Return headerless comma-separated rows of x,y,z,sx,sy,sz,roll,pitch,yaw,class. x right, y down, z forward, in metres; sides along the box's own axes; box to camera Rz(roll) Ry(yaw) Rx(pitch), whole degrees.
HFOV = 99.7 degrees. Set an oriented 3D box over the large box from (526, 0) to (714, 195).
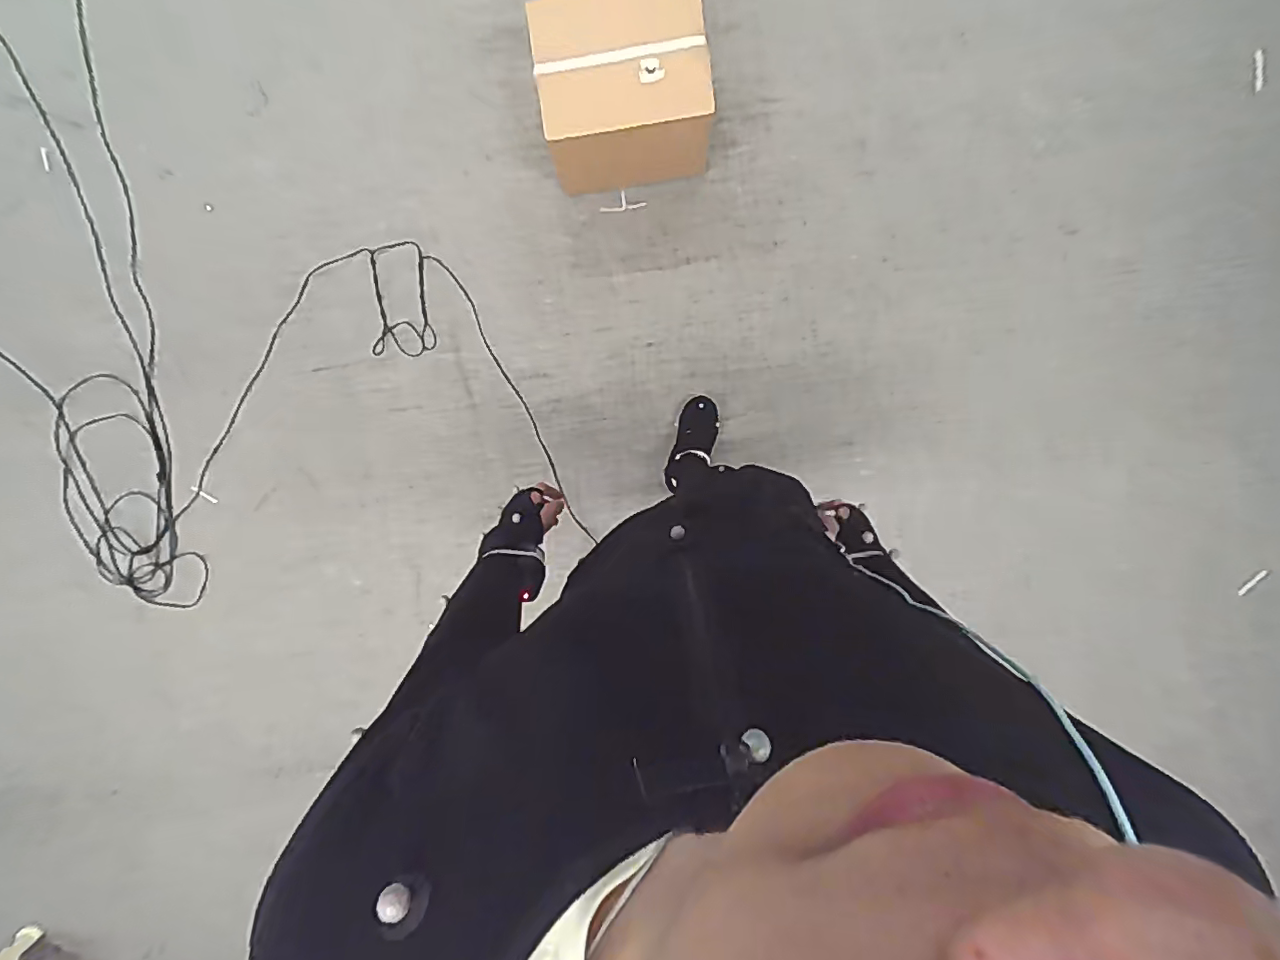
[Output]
-0.043,-0.995,1.404,0.408,0.320,0.320,-9,95,3,large box
